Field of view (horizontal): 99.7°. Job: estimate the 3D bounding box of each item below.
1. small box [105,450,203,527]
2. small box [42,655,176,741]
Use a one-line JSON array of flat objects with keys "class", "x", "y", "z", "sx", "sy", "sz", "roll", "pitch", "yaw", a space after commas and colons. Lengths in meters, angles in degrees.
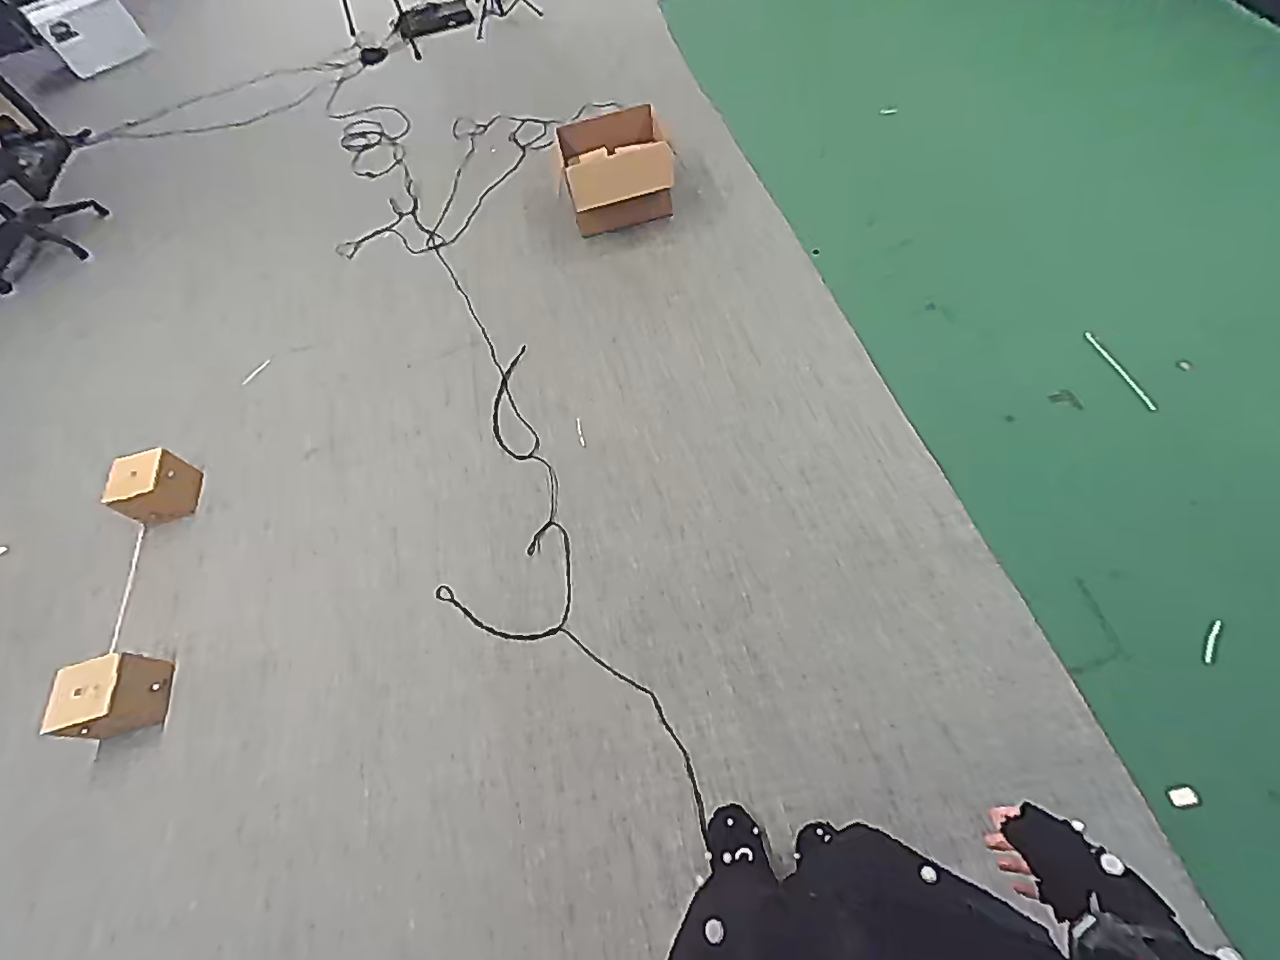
[{"class": "small box", "x": -1.608, "y": 0.030, "z": 1.803, "sx": 0.168, "sy": 0.176, "sz": 0.179, "roll": -16, "pitch": 60, "yaw": -1}, {"class": "small box", "x": -1.420, "y": 0.592, "z": 1.457, "sx": 0.179, "sy": 0.176, "sz": 0.168, "roll": -16, "pitch": 60, "yaw": -1}]
